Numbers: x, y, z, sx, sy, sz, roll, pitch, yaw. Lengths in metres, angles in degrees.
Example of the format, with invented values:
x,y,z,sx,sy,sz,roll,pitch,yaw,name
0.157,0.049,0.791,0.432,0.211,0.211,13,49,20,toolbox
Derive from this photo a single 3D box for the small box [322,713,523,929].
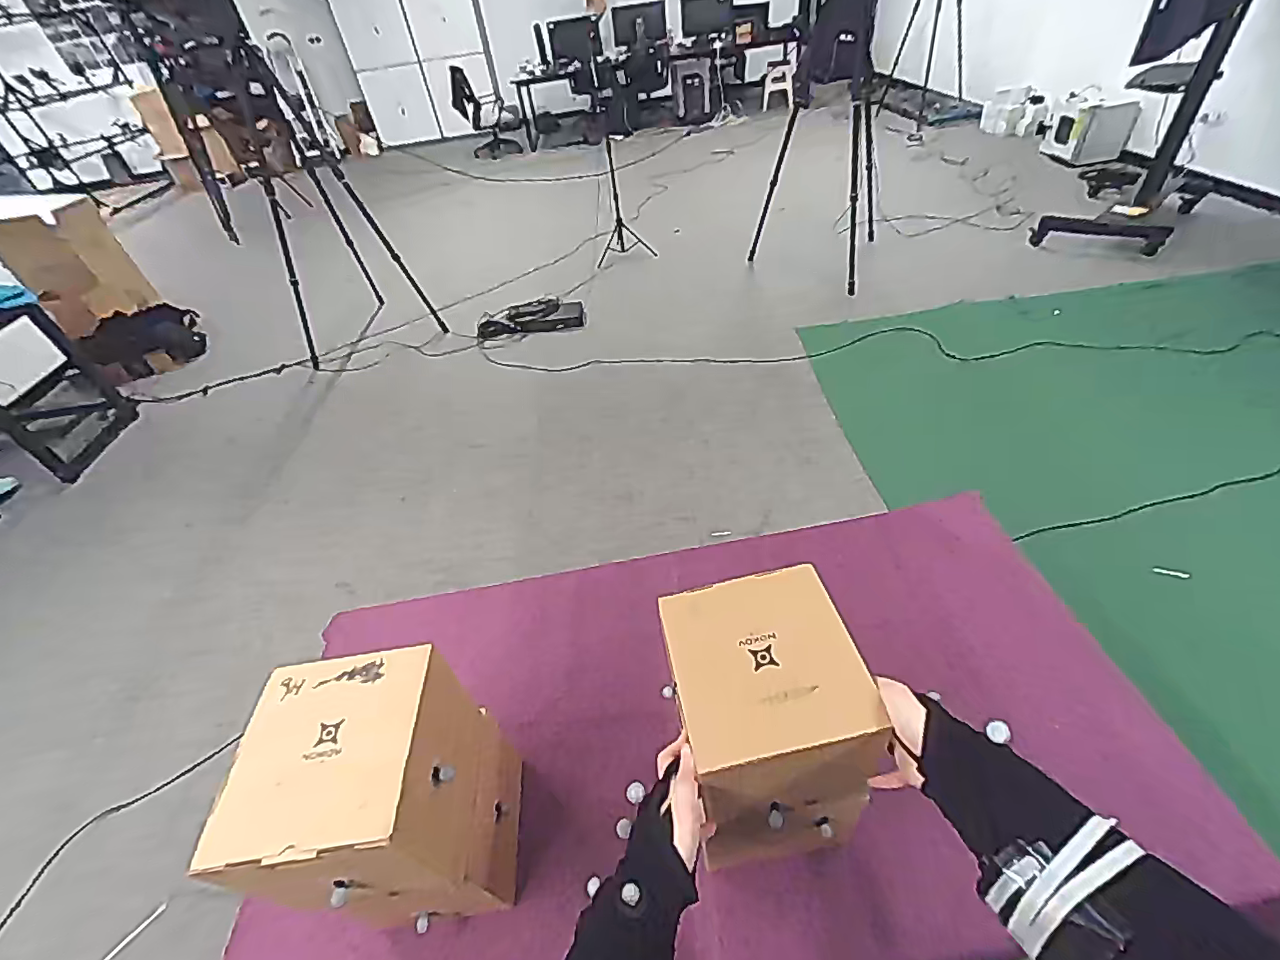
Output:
x,y,z,sx,sy,sz,roll,pitch,yaw,name
-0.246,0.414,0.658,0.168,0.176,0.179,-10,44,1,small box

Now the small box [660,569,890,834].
x,y,z,sx,sy,sz,roll,pitch,yaw,name
0.122,0.223,0.549,0.168,0.176,0.179,-13,42,-1,small box

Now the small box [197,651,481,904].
x,y,z,sx,sy,sz,roll,pitch,yaw,name
-0.270,0.301,0.541,0.168,0.176,0.179,-9,43,0,small box

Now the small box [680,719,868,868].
x,y,z,sx,sy,sz,roll,pitch,yaw,name
0.147,0.345,0.657,0.179,0.176,0.168,-11,42,0,small box
